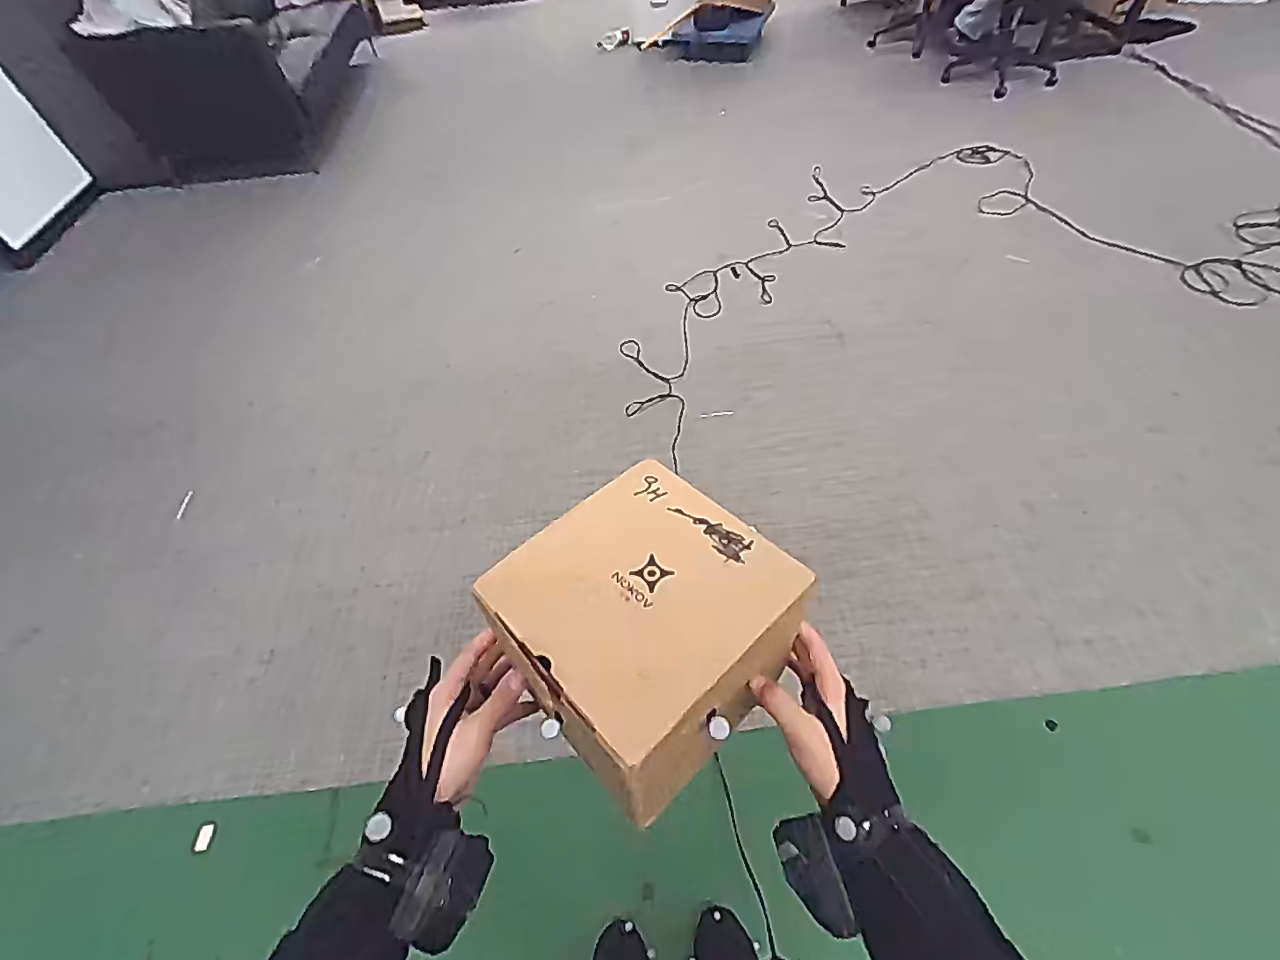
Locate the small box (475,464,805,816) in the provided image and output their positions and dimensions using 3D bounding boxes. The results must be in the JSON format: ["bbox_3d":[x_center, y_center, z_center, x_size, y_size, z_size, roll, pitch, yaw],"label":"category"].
[{"bbox_3d":[0.005,0.127,0.433,0.179,0.176,0.168,-36,55,-25],"label":"small box"}]
